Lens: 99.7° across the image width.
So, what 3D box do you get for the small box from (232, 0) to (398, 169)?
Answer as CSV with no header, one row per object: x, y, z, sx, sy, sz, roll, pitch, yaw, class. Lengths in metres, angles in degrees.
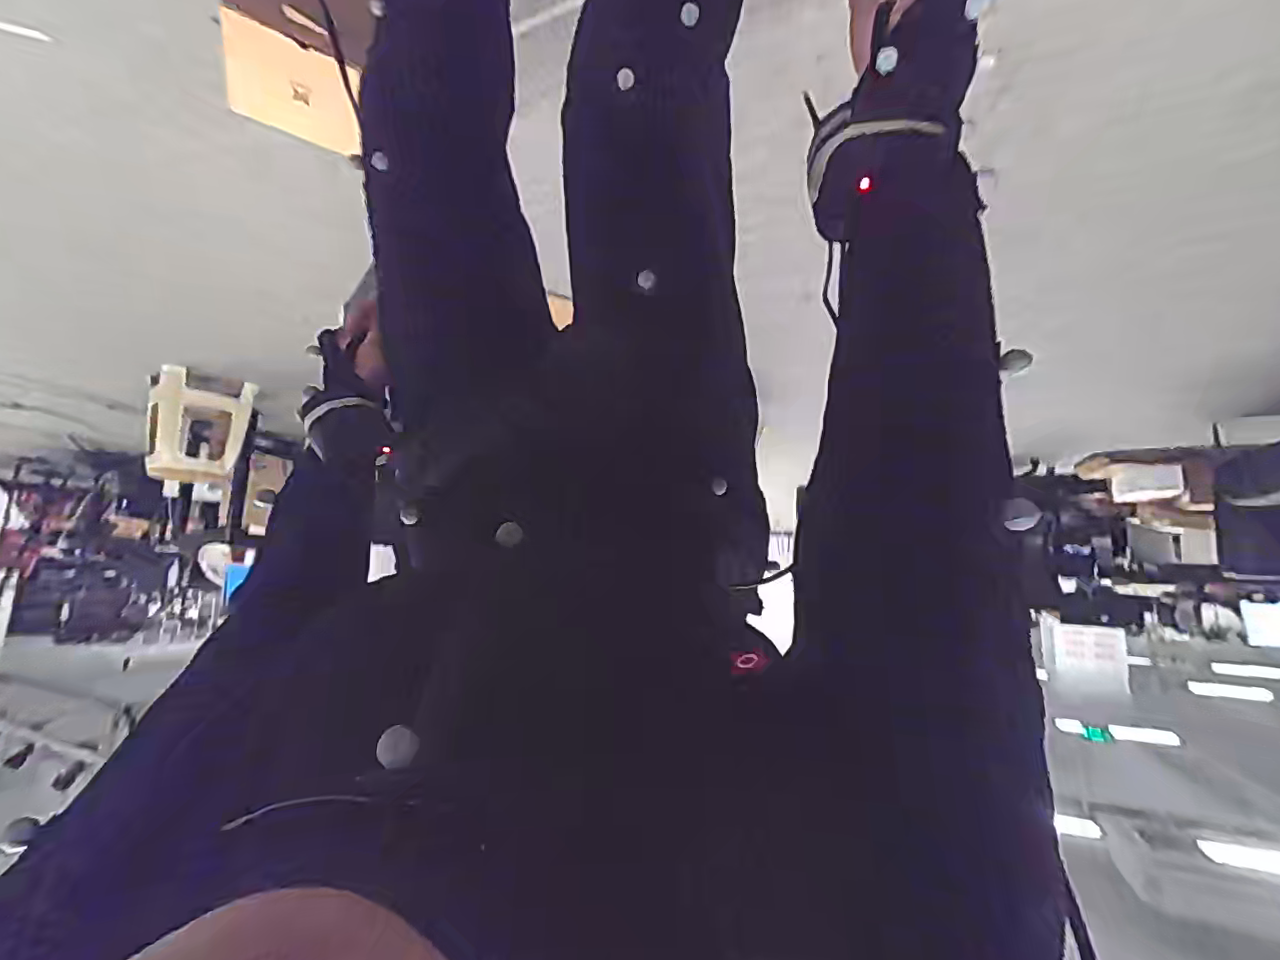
-0.437,-0.581,0.737,0.168,0.176,0.179,9,167,-33,small box
